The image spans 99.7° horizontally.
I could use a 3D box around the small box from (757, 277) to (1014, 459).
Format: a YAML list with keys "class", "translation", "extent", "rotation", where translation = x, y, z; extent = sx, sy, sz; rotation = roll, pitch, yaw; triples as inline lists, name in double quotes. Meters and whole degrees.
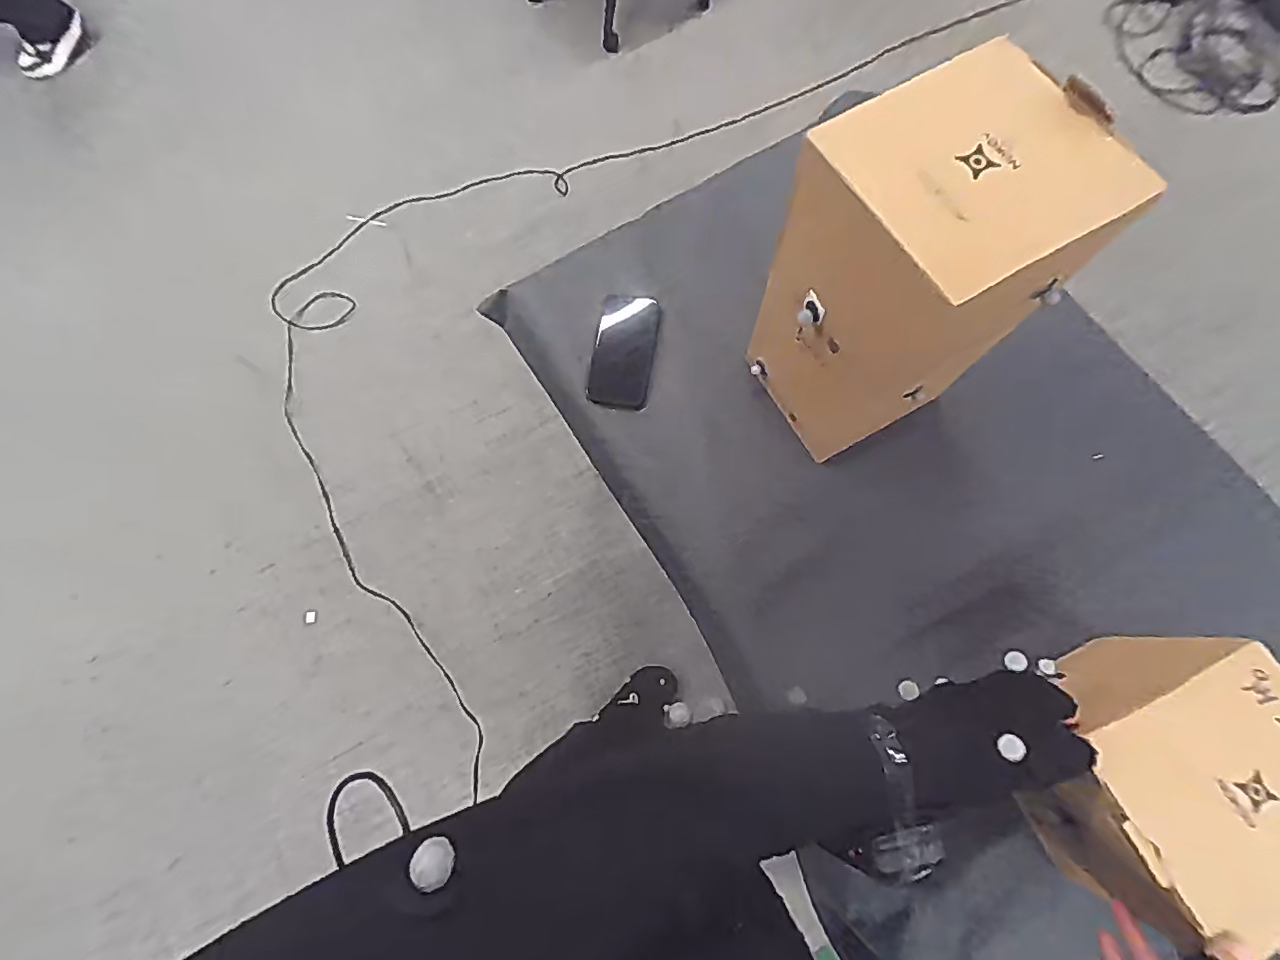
- class: "small box"
  translation: [0.246, -0.146, 0.599]
  extent: [0.179, 0.176, 0.168]
  rotation: [-28, 74, -6]

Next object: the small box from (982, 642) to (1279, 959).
- class: "small box"
  translation: [0.443, 0.257, 0.471]
  extent: [0.179, 0.176, 0.168]
  rotation: [-25, 74, -4]

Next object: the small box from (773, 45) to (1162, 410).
- class: "small box"
  translation: [0.234, -0.188, 0.443]
  extent: [0.179, 0.176, 0.168]
  rotation: [-30, 74, -5]
